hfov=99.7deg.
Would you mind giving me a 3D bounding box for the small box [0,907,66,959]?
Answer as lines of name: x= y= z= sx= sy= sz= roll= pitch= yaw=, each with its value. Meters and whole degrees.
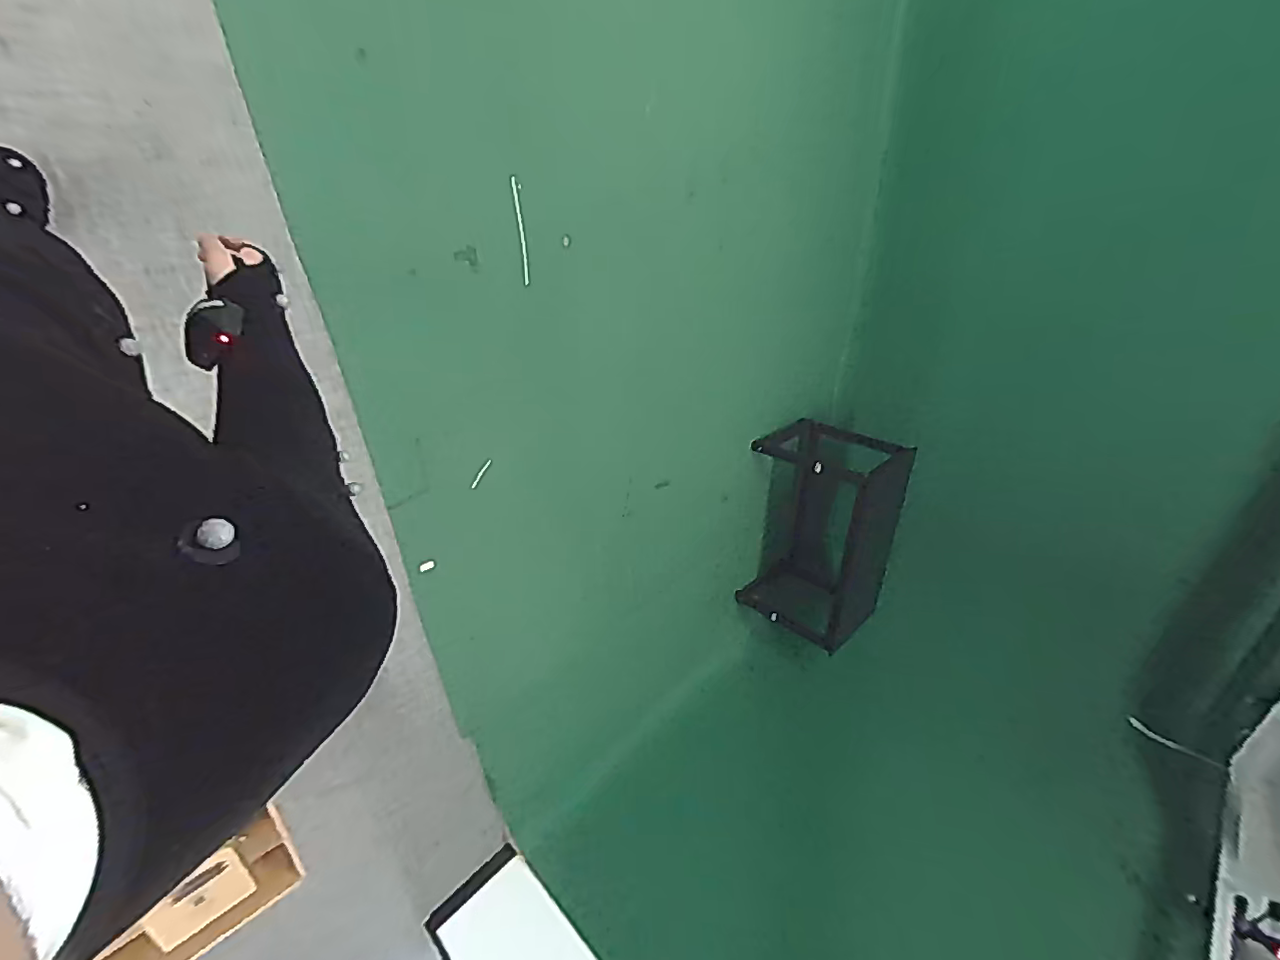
small box: x=-1.168 y=0.928 z=0.964 sx=0.168 sy=0.176 sz=0.179 roll=-22 pitch=124 yaw=-40
